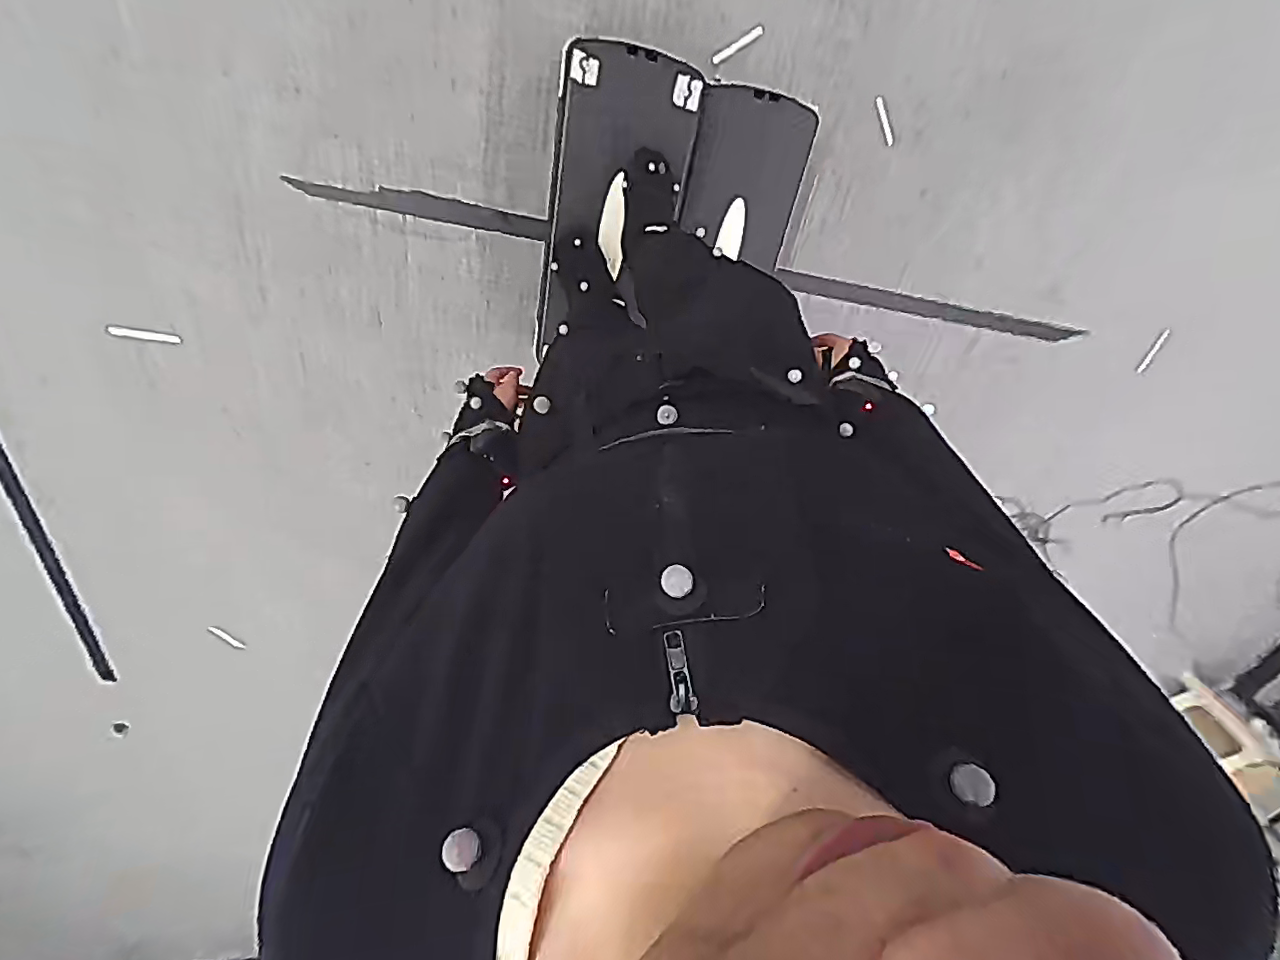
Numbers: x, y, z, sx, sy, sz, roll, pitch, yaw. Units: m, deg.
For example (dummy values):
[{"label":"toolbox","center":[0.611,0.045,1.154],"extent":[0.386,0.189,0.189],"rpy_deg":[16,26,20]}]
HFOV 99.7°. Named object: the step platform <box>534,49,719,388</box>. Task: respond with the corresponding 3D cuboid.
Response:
[{"label":"step platform","center":[-0.056,-0.560,1.255],"extent":[0.286,0.204,0.684],"rpy_deg":[9,118,-14]}]
